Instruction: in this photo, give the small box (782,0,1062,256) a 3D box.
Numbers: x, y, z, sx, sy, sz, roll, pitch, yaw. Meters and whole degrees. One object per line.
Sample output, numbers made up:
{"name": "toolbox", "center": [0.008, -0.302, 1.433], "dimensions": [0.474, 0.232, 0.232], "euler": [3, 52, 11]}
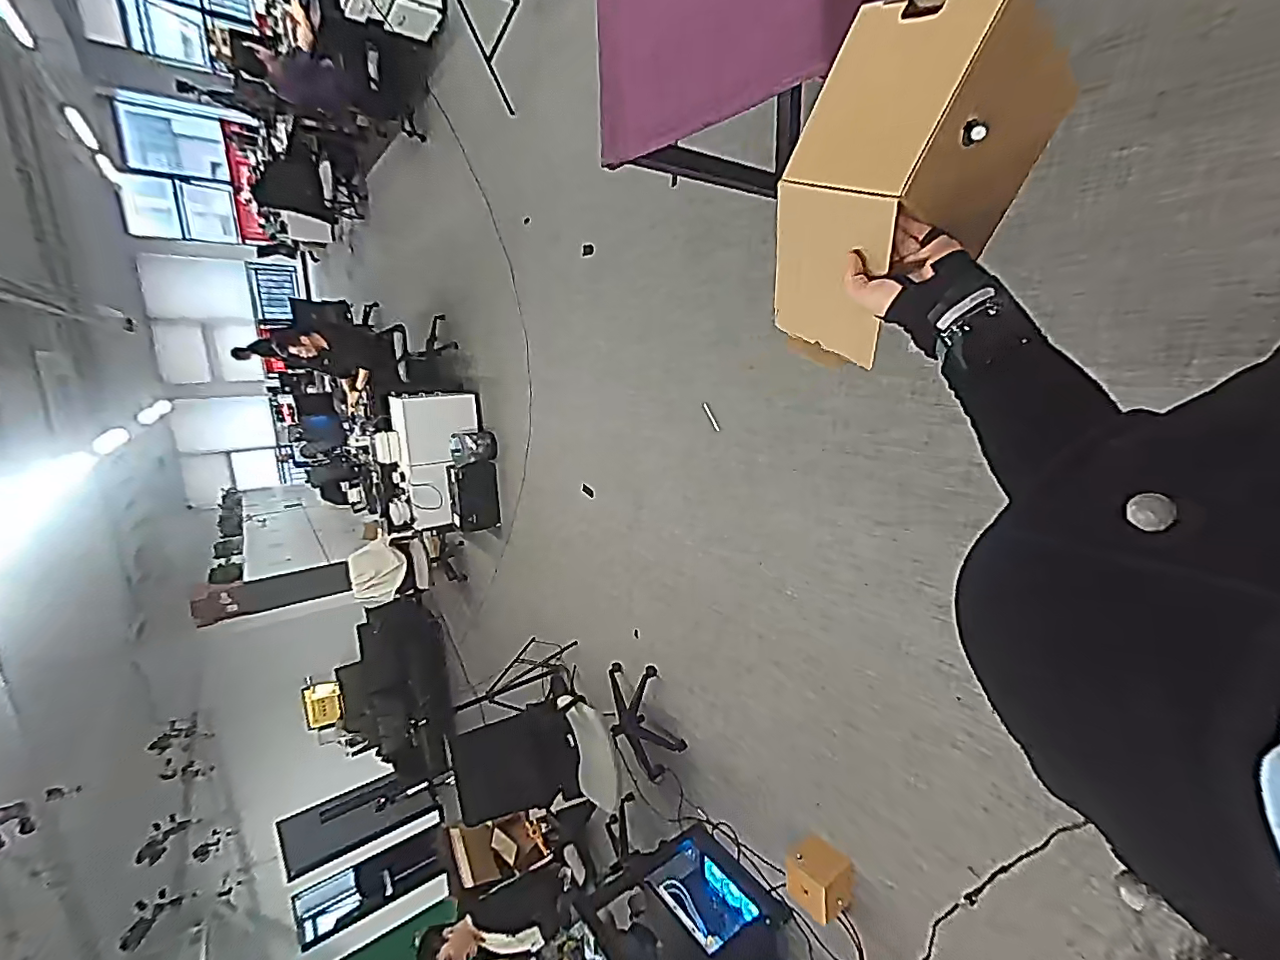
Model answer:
{"name": "small box", "center": [0.293, -0.360, 0.569], "dimensions": [0.168, 0.176, 0.179], "euler": [46, 118, 46]}
